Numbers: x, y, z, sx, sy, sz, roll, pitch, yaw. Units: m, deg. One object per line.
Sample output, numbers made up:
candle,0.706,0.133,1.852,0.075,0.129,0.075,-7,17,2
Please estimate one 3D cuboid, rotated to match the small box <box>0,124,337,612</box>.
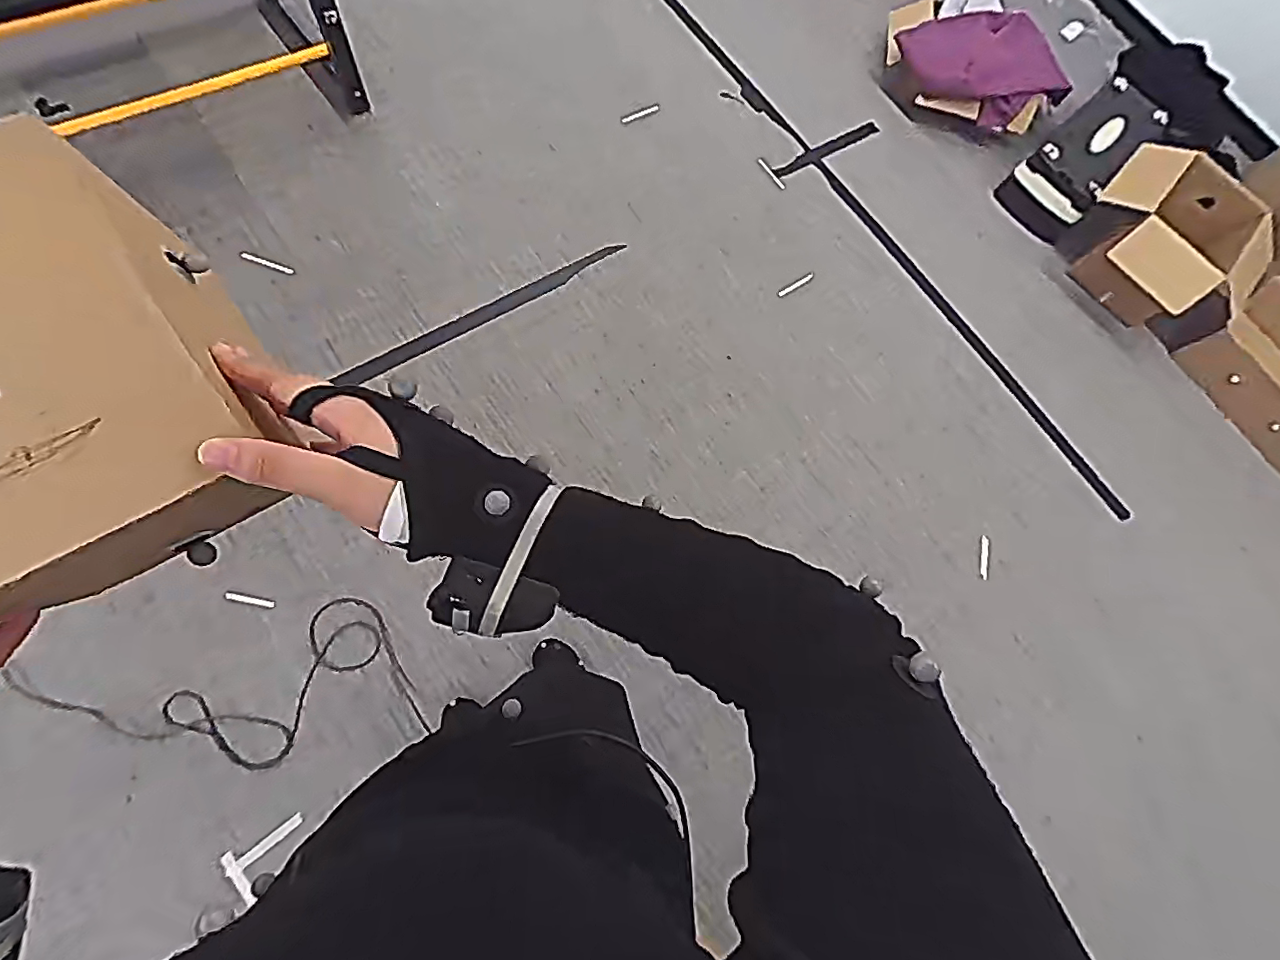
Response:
small box,-0.309,-0.040,0.302,0.168,0.176,0.179,-32,99,-15
